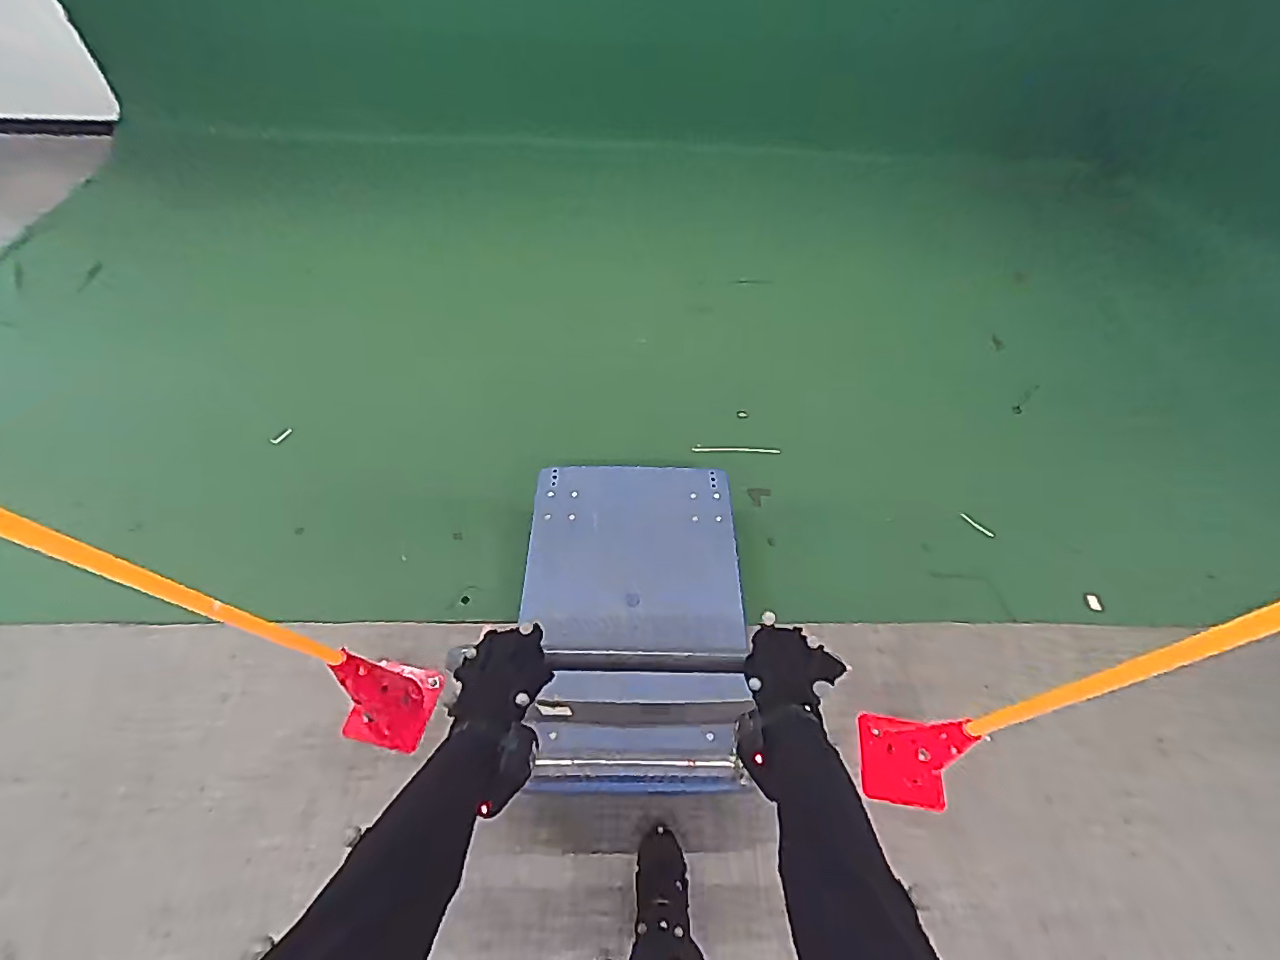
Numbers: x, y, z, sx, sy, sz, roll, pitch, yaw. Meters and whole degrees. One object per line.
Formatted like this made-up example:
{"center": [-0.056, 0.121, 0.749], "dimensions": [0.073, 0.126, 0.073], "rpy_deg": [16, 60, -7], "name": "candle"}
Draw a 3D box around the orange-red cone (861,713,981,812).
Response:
{"center": [0.654, 0.597, 1.207], "dimensions": [0.198, 0.360, 0.199], "rpy_deg": [9, 55, 6], "name": "orange-red cone"}
